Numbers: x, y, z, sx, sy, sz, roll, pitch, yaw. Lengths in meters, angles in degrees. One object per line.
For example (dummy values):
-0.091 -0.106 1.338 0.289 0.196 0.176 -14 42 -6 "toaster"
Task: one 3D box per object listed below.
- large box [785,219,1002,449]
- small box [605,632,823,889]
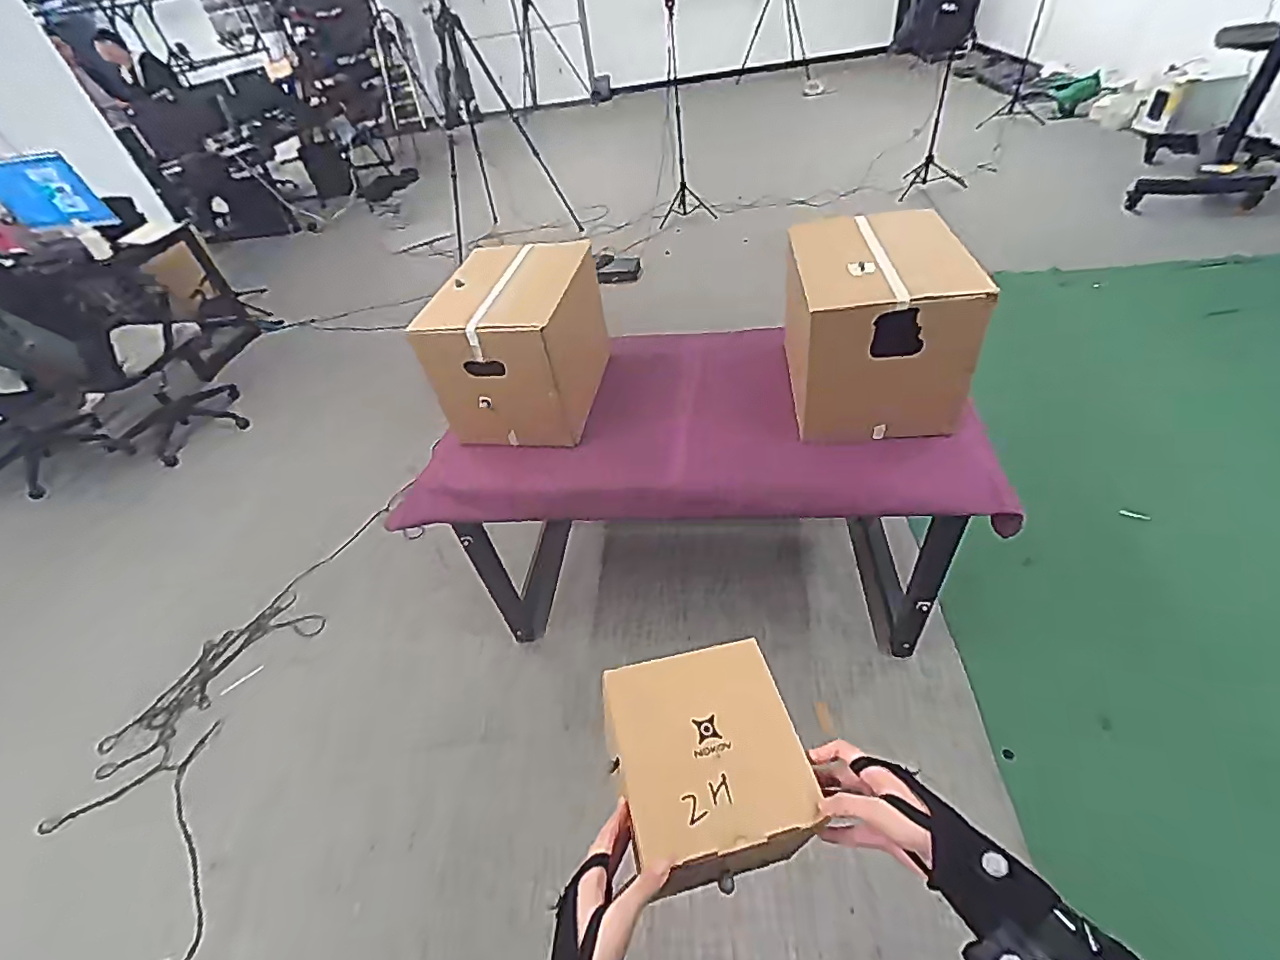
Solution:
0.497 -0.319 1.173 0.320 0.320 0.408 -4 44 11 "large box"
0.056 0.287 0.558 0.168 0.176 0.179 -8 47 -10 "small box"
